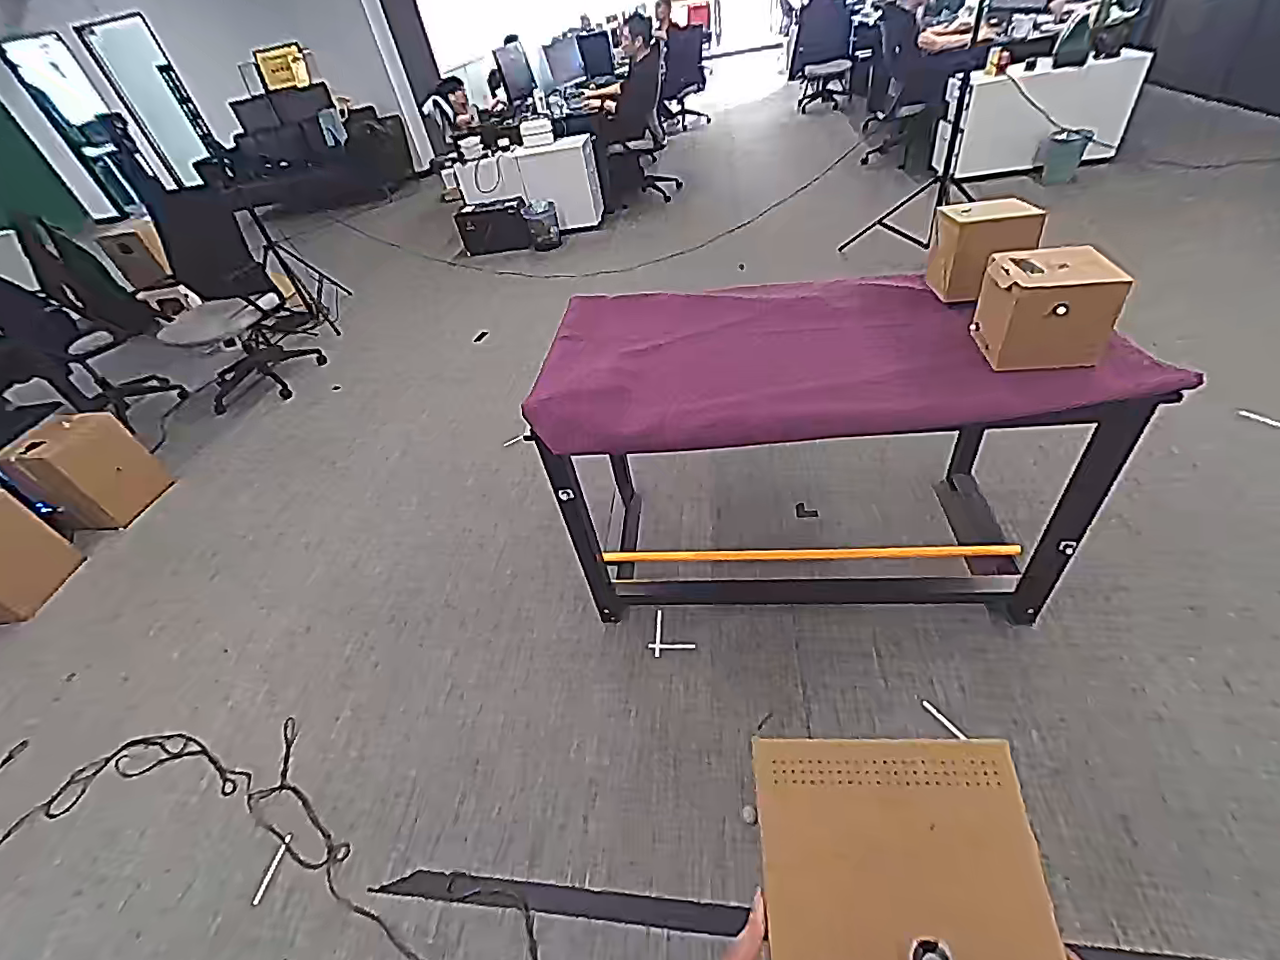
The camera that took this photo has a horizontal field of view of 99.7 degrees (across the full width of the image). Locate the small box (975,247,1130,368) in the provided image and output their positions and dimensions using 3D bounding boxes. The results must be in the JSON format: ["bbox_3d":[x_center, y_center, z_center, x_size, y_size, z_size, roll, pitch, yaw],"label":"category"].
[{"bbox_3d":[0.771,-0.327,1.039,0.179,0.176,0.168,-1,42,12],"label":"small box"}]
